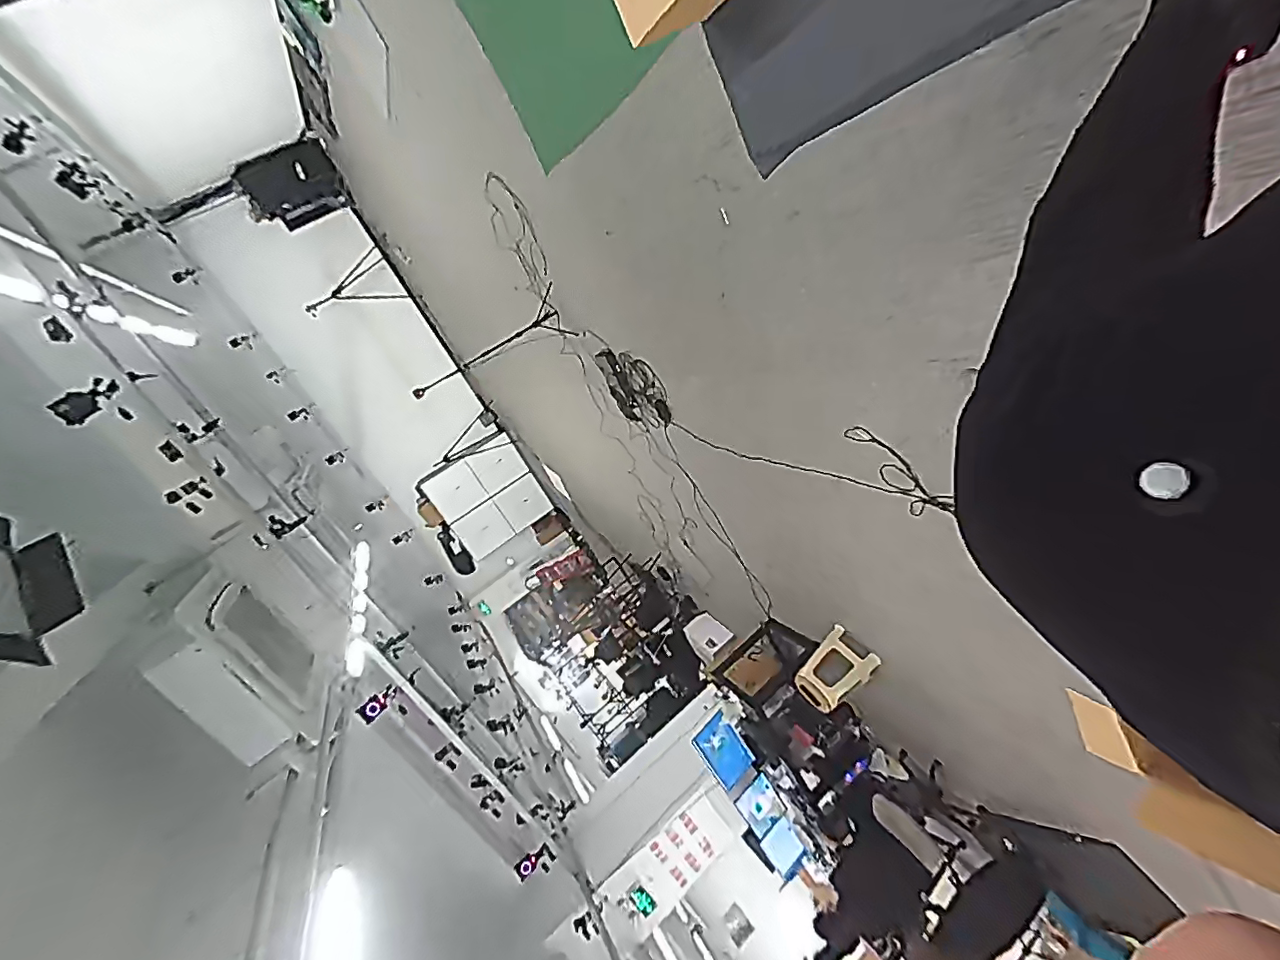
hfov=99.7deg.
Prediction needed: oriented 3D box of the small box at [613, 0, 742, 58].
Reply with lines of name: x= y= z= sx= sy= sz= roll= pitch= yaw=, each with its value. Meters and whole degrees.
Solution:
small box: x=0.062 y=-0.800 z=0.824 sx=0.179 sy=0.176 sz=0.168 roll=22 pitch=142 yaw=59
